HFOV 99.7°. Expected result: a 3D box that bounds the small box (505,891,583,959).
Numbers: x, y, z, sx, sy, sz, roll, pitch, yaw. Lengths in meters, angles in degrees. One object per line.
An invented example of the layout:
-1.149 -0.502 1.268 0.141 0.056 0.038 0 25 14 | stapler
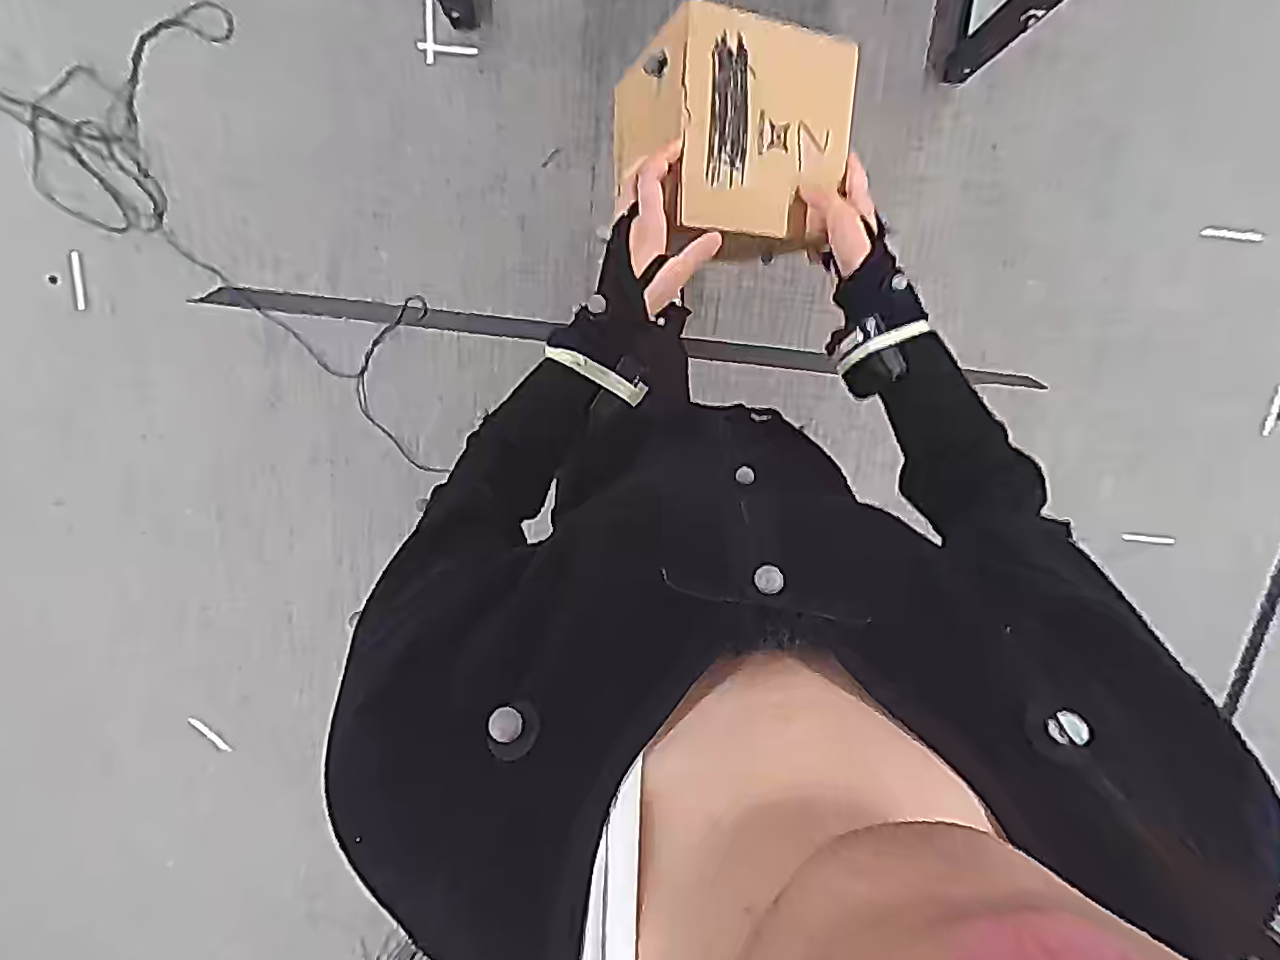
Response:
-0.241 1.186 1.369 0.179 0.176 0.168 6 101 -1 | small box
